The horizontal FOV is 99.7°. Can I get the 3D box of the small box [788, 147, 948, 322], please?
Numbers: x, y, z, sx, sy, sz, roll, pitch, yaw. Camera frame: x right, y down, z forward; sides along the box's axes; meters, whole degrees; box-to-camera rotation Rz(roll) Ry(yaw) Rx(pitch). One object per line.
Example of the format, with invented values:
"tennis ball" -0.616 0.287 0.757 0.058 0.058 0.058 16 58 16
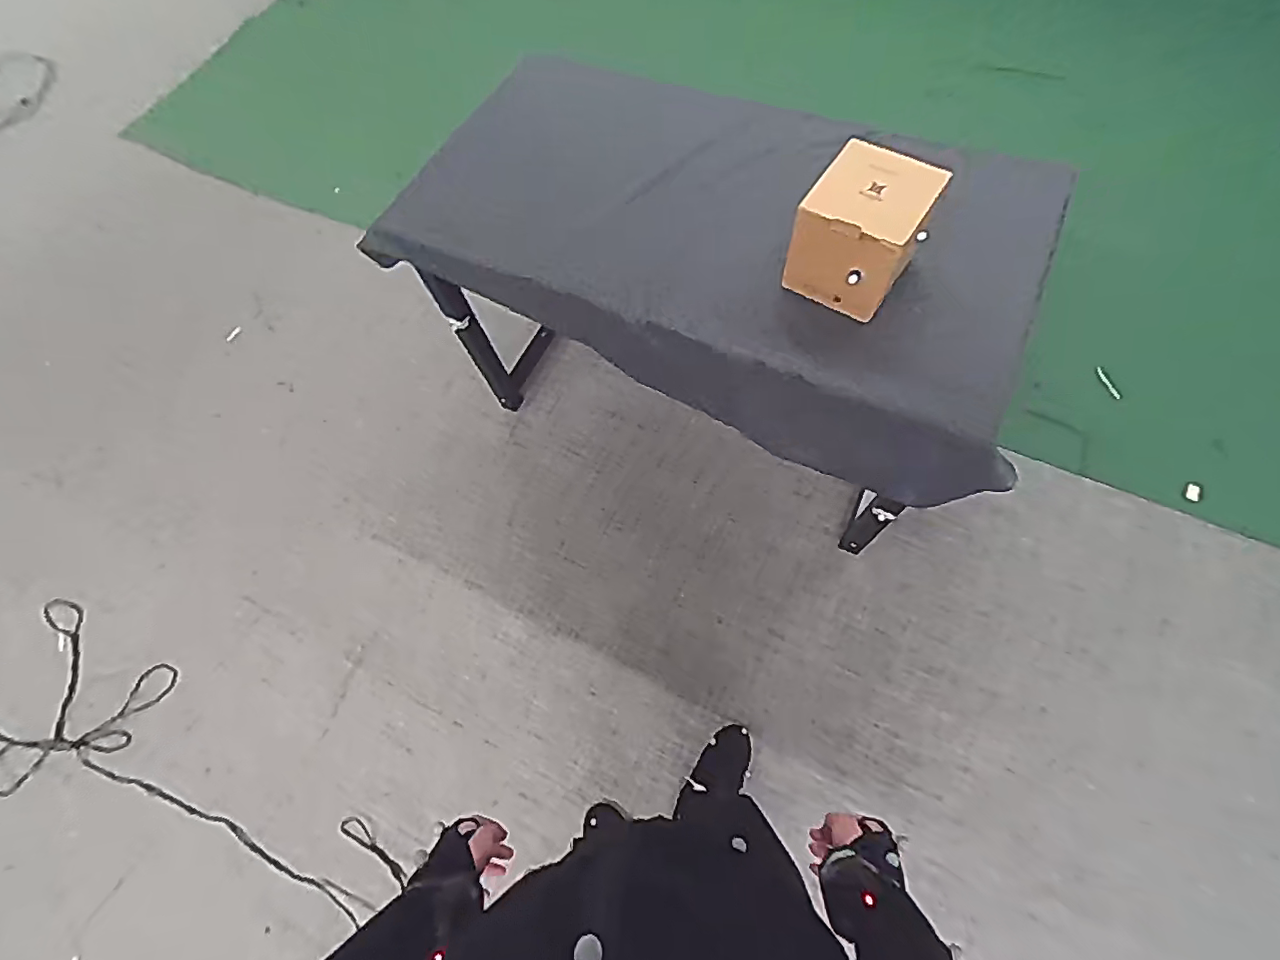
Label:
"small box" 0.362 -0.396 0.892 0.168 0.176 0.179 32 72 16
